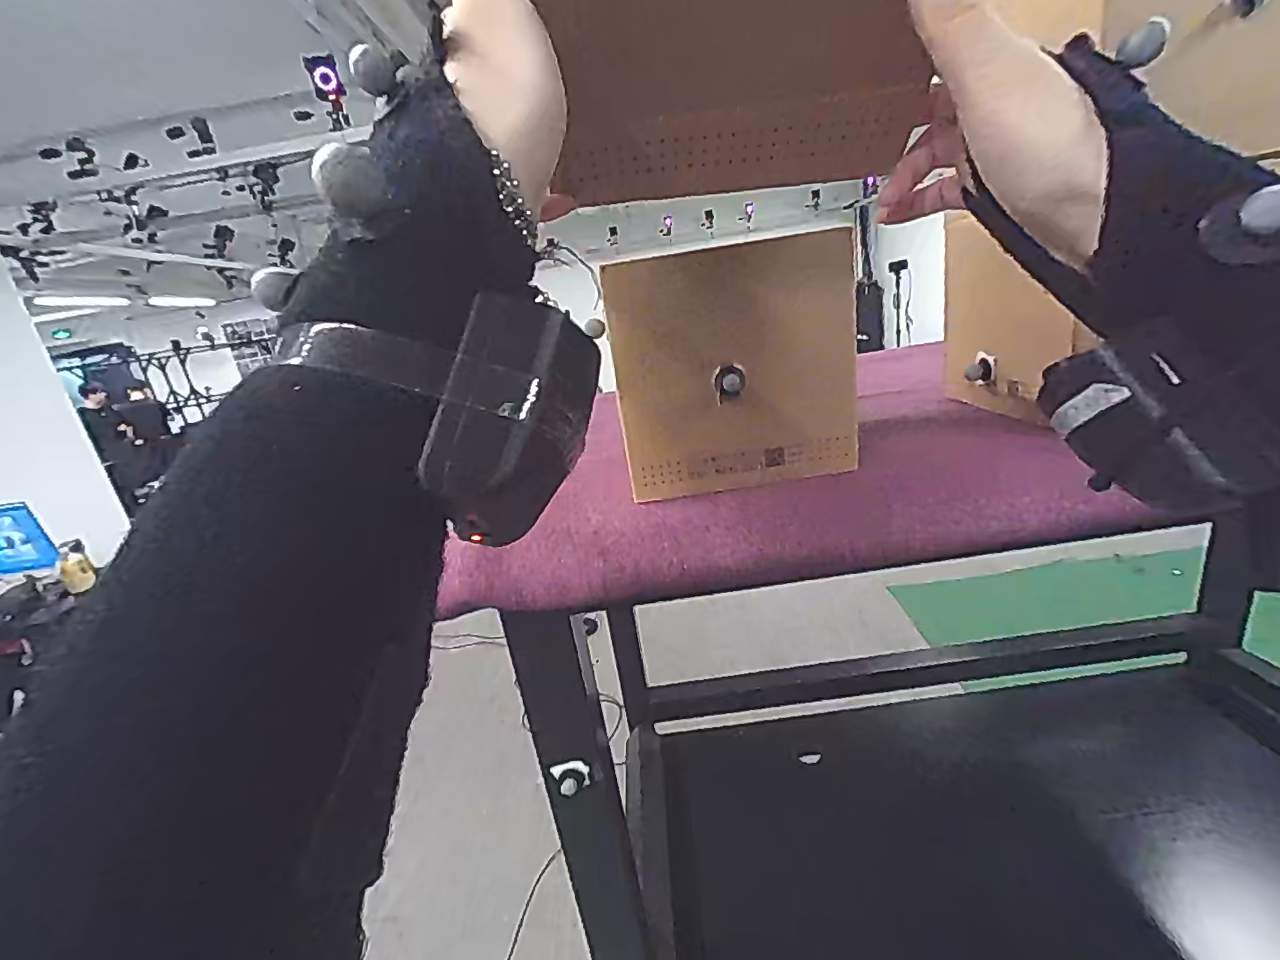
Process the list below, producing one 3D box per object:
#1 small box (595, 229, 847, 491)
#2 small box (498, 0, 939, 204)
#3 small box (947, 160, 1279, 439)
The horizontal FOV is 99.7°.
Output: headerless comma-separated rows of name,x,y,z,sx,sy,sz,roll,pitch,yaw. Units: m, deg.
small box,0.061,-0.095,0.446,0.168,0.176,0.179,-8,19,1
small box,0.027,-0.245,0.231,0.179,0.168,0.176,-5,-24,0
small box,0.379,-0.143,0.445,0.179,0.176,0.168,-10,18,1
